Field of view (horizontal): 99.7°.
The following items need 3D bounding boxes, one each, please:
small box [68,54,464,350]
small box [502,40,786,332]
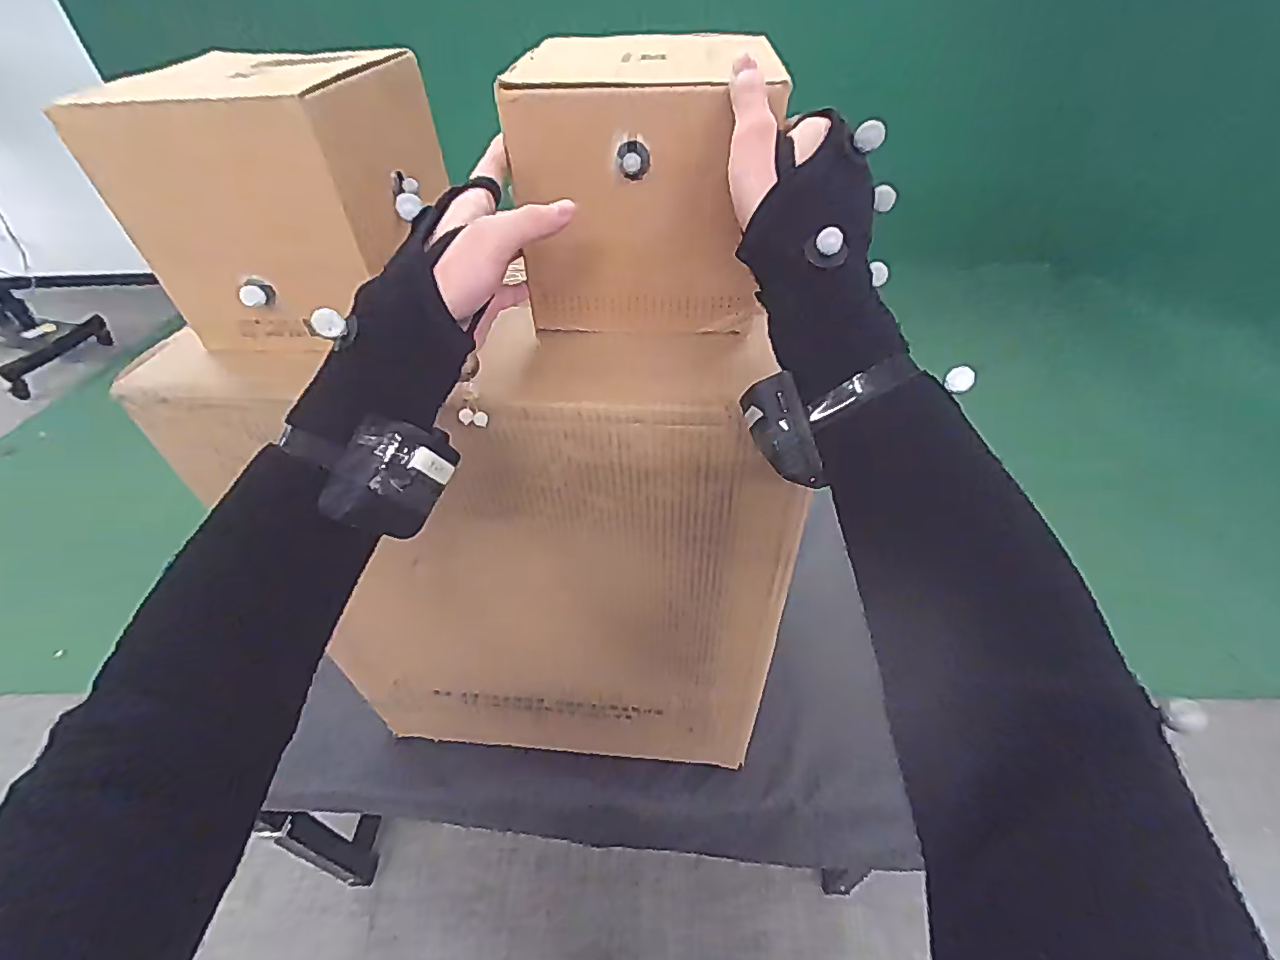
[{"bbox_3d":[-0.258,-0.224,0.435,0.168,0.176,0.179,2,46,5],"label":"small box"},{"bbox_3d":[0.008,-0.234,0.435,0.179,0.176,0.168,3,47,3],"label":"small box"}]
